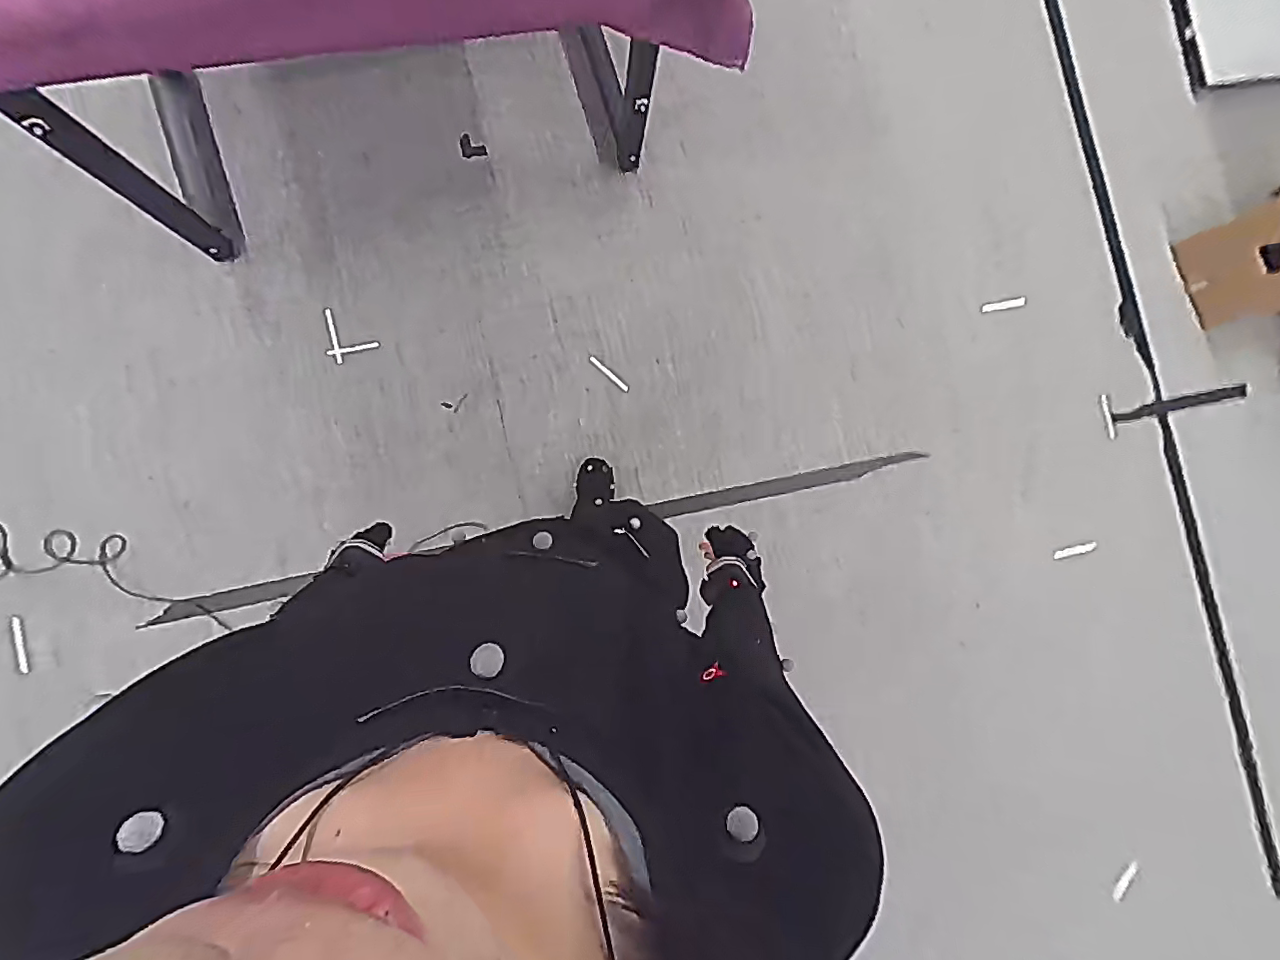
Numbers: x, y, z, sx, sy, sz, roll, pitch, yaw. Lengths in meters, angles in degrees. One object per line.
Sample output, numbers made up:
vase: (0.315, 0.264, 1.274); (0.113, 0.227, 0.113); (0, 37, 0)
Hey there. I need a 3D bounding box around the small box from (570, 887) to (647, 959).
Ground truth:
small box: (-0.076, 1.160, 1.340); (0.179, 0.176, 0.168); (-7, 88, -7)
